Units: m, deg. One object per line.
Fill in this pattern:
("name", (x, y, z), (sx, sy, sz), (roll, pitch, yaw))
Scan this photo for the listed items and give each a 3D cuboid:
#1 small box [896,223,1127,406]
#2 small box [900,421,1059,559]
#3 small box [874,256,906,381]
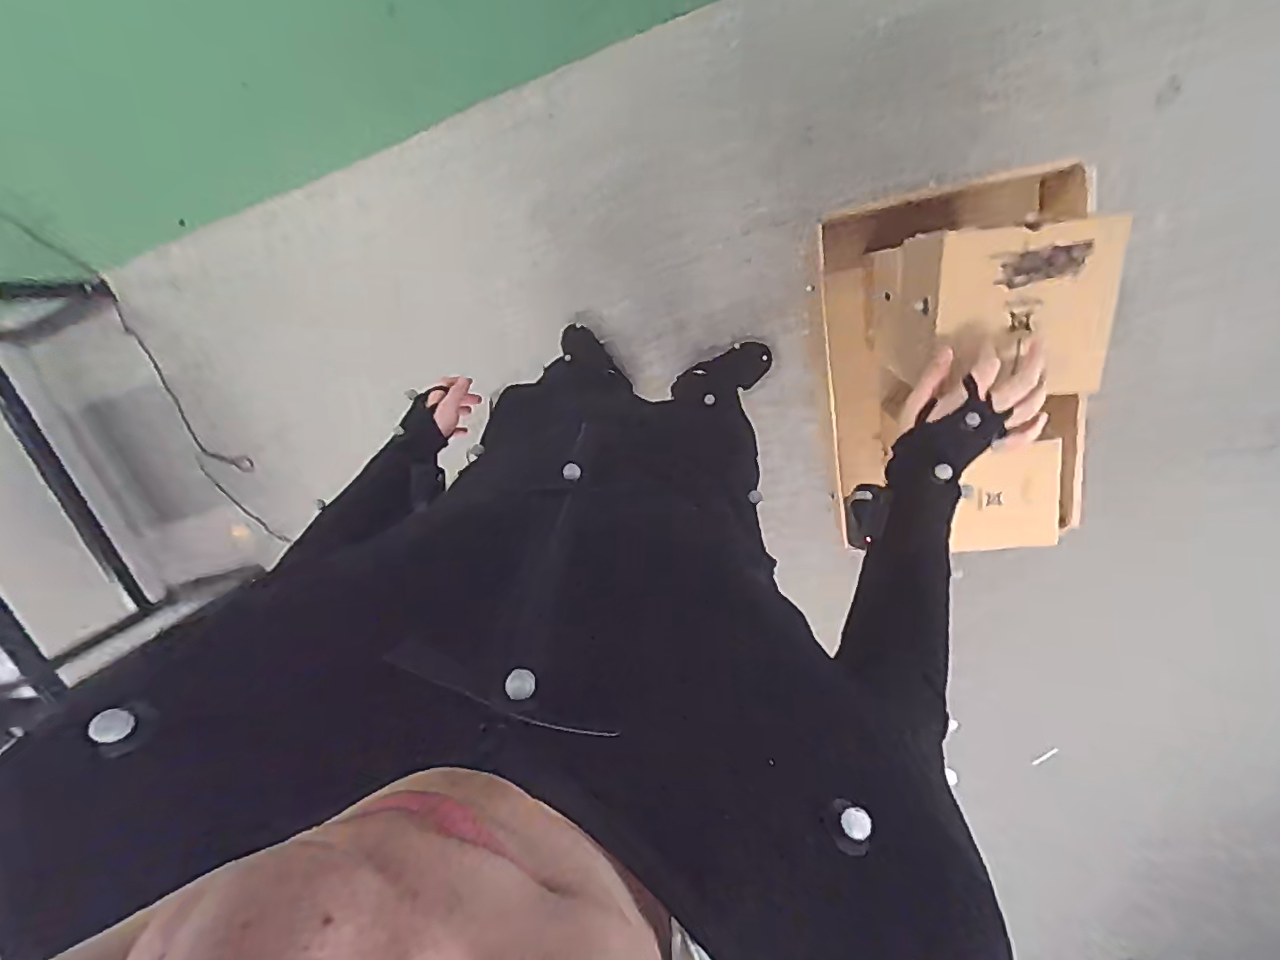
("small box", (0.412, -0.192, 0.637), (0.168, 0.176, 0.179), (-1, 110, 12))
("small box", (0.524, 0.011, 0.863), (0.179, 0.176, 0.168), (-7, 109, 14))
("small box", (0.448, -0.246, 0.788), (0.179, 0.176, 0.168), (-4, 109, 13))
